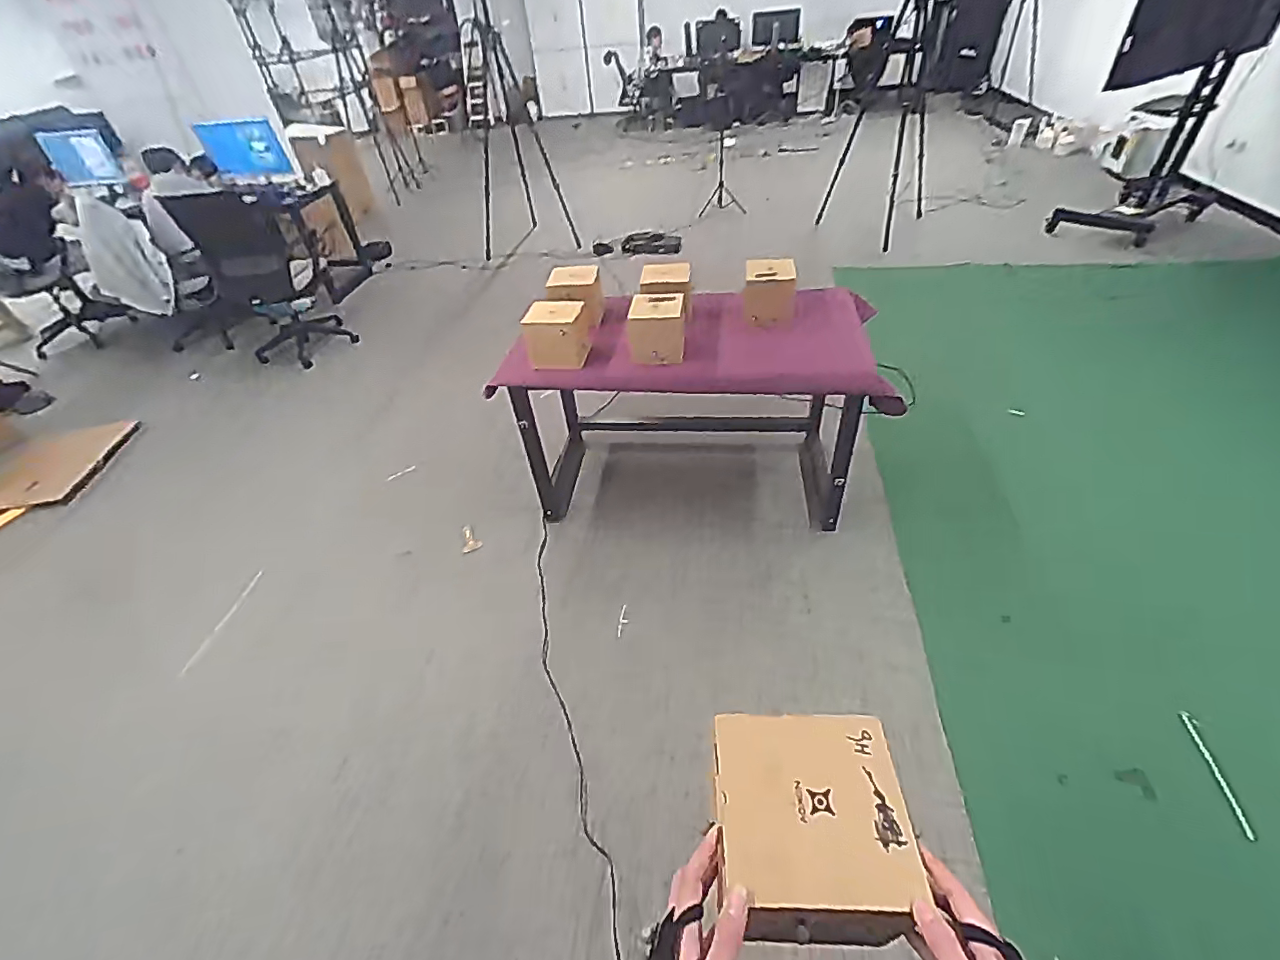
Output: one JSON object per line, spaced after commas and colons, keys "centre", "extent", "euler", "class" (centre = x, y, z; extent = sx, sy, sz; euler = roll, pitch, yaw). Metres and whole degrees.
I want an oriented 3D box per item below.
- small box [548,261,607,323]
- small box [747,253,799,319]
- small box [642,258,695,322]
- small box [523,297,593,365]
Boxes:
{"centre": [-0.226, -0.692, 2.001], "extent": [0.179, 0.176, 0.168], "euler": [0, 44, 7], "class": "small box"}
{"centre": [0.462, -0.675, 1.890], "extent": [0.168, 0.176, 0.179], "euler": [2, 43, 10], "class": "small box"}
{"centre": [0.108, -0.683, 1.950], "extent": [0.179, 0.176, 0.168], "euler": [0, 43, 9], "class": "small box"}
{"centre": [-0.266, -0.493, 1.793], "extent": [0.179, 0.176, 0.168], "euler": [2, 42, 9], "class": "small box"}
